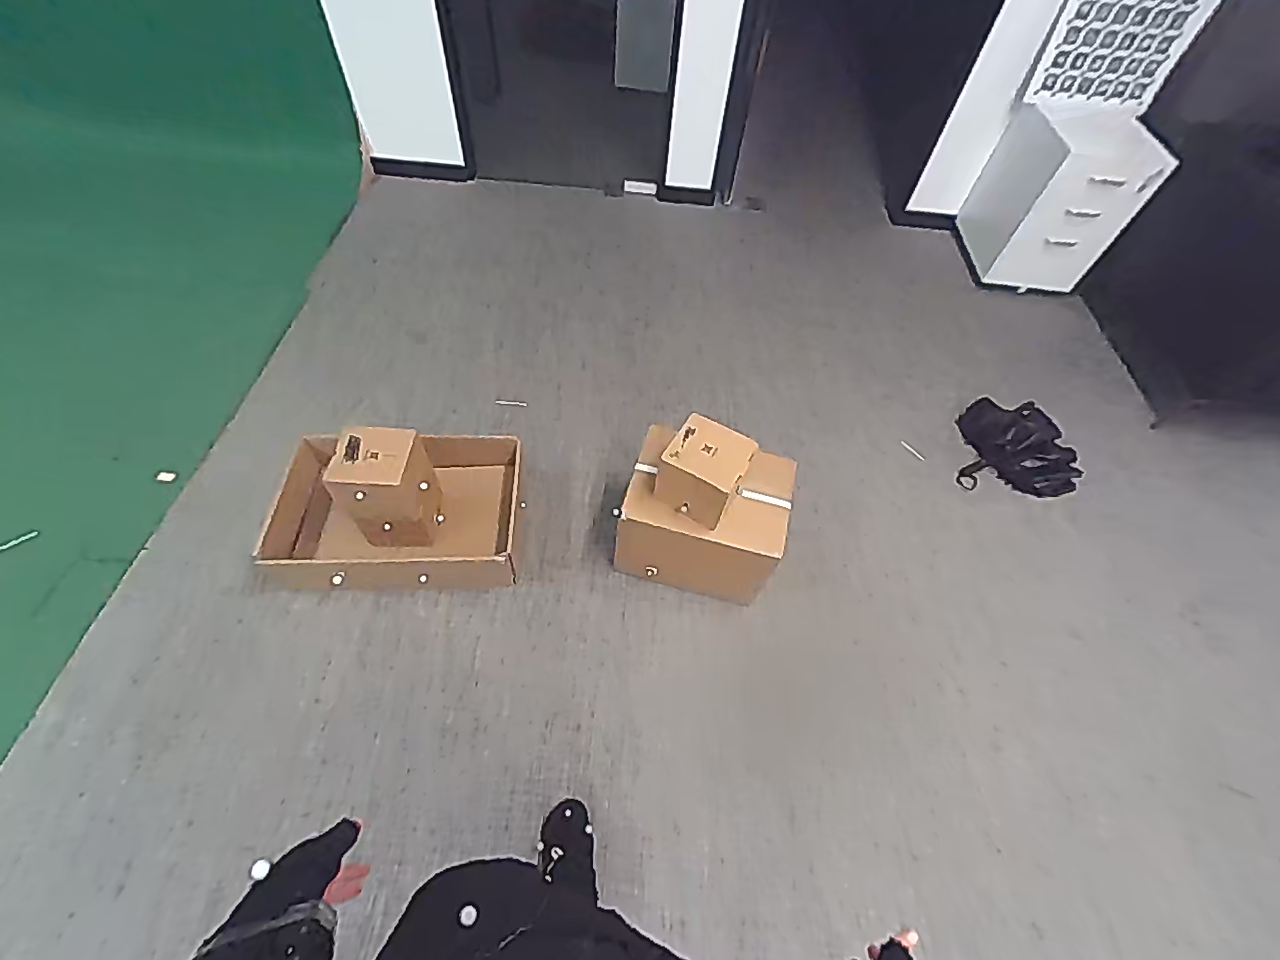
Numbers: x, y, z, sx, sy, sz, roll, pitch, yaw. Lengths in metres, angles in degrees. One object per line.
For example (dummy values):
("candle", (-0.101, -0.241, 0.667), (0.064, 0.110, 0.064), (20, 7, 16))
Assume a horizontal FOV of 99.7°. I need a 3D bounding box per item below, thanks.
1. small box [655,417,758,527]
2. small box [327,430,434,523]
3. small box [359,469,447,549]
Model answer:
("small box", (0.153, -0.011, 1.295), (0.179, 0.176, 0.168), (28, 58, 13))
("small box", (-0.634, -0.004, 1.345), (0.179, 0.176, 0.168), (4, 55, -4))
("small box", (-0.648, 0.080, 1.487), (0.179, 0.176, 0.168), (2, 56, -6))
